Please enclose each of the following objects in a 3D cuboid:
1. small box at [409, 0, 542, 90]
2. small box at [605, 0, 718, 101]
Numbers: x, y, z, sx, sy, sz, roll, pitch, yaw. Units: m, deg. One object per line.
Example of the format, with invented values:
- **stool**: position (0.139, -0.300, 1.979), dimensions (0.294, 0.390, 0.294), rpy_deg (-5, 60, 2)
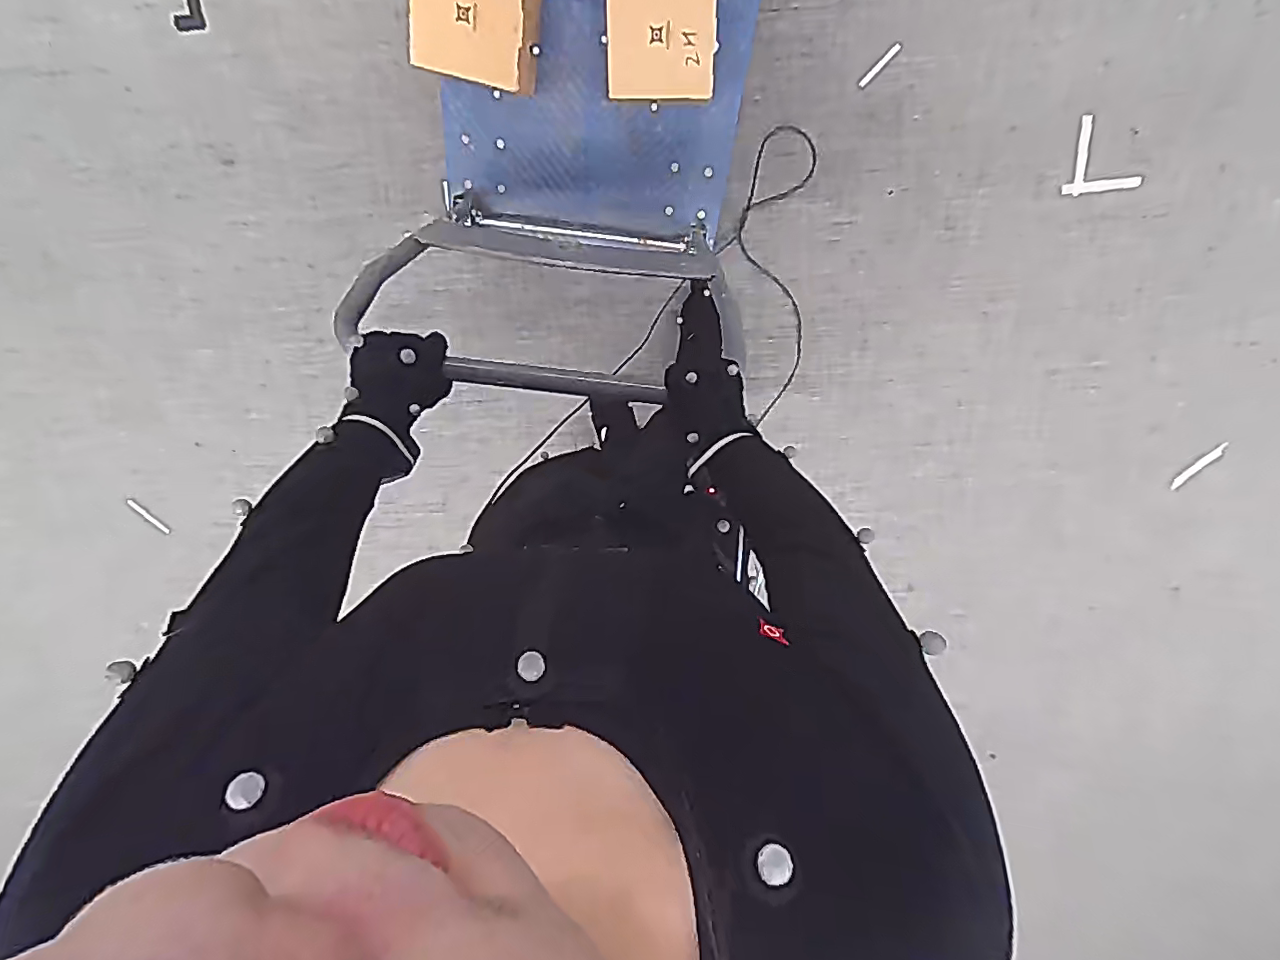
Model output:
- **small box**: position (-0.271, -0.775, 0.909), dimensions (0.179, 0.176, 0.168), rpy_deg (9, 122, -7)
- **small box**: position (0.035, -0.751, 0.921), dimensions (0.179, 0.176, 0.168), rpy_deg (1, 123, 0)
